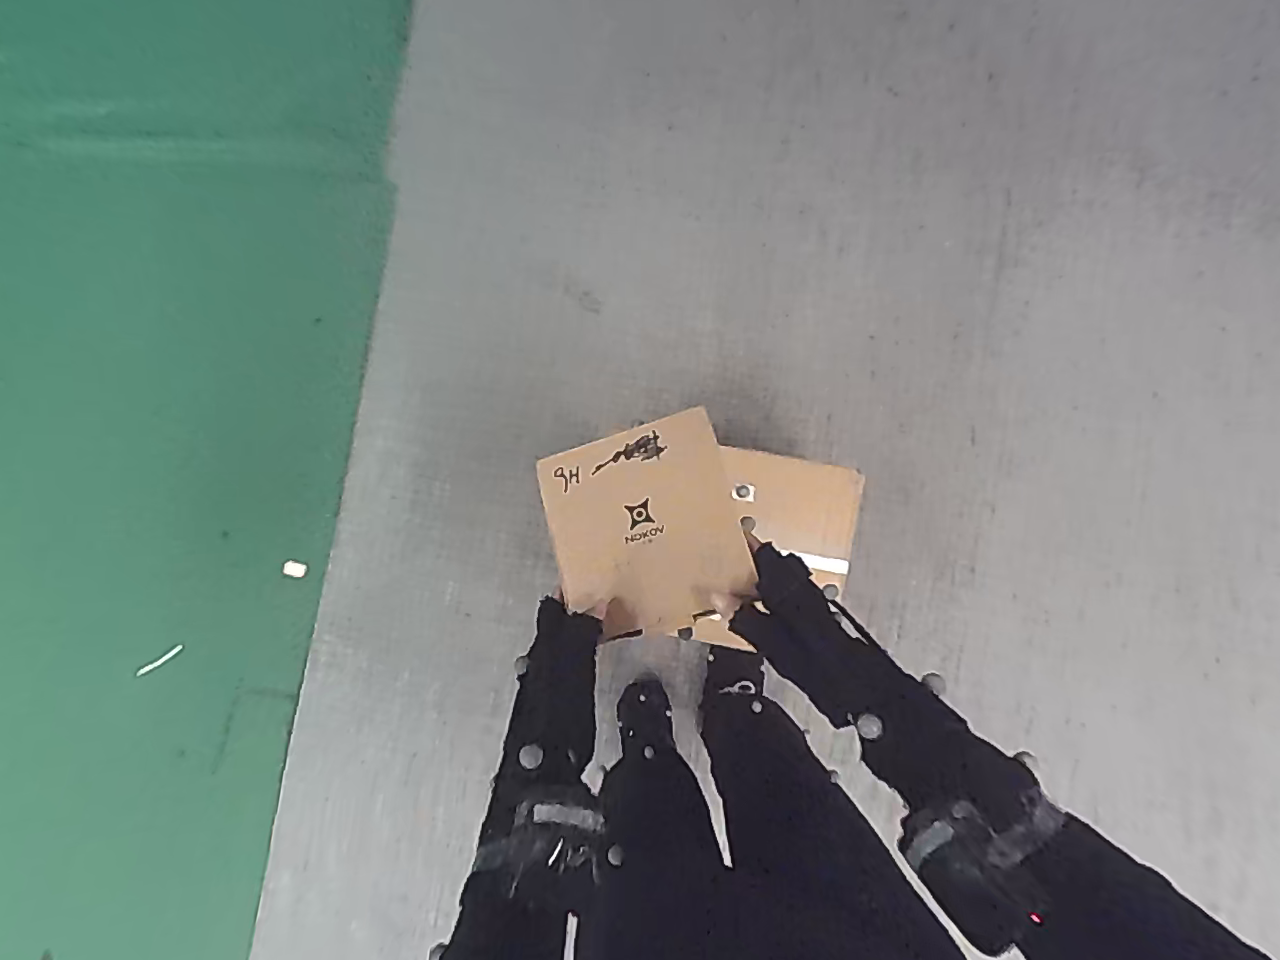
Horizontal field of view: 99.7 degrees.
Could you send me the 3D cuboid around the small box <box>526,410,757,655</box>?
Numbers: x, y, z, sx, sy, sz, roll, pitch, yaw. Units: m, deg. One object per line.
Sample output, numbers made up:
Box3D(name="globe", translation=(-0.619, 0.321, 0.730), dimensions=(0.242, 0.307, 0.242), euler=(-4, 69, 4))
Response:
Box3D(name="small box", translation=(0.012, 0.057, 0.535), dimensions=(0.168, 0.176, 0.179), euler=(-18, 75, 10))
